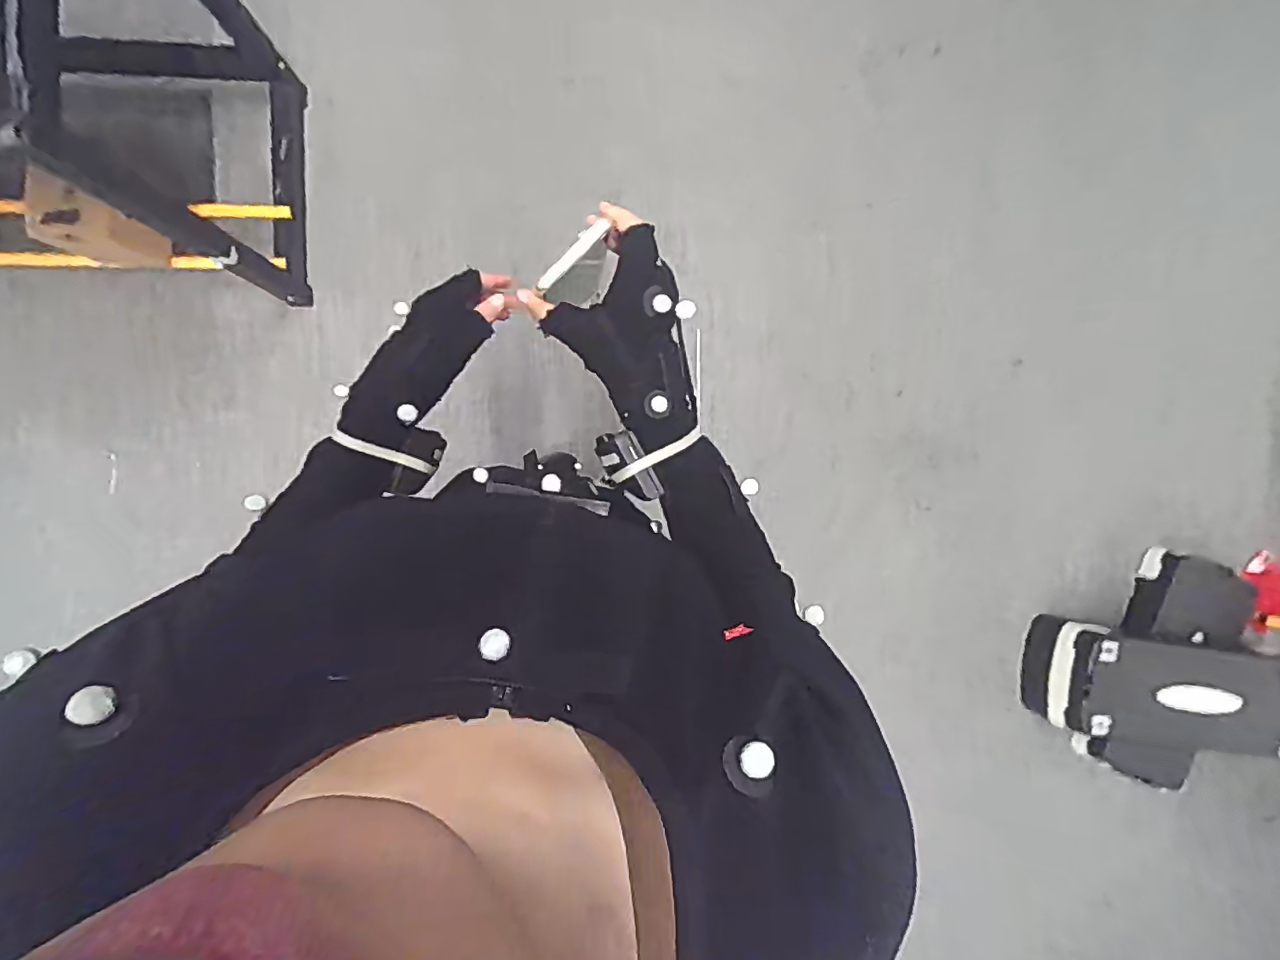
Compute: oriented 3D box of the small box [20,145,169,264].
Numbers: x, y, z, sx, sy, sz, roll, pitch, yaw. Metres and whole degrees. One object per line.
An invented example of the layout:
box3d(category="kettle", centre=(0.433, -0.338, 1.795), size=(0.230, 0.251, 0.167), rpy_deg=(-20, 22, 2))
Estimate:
box3d(category="small box", centre=(-1.186, -0.593, 1.188), size=(0.168, 0.176, 0.179), rpy_deg=(3, 91, -5))
